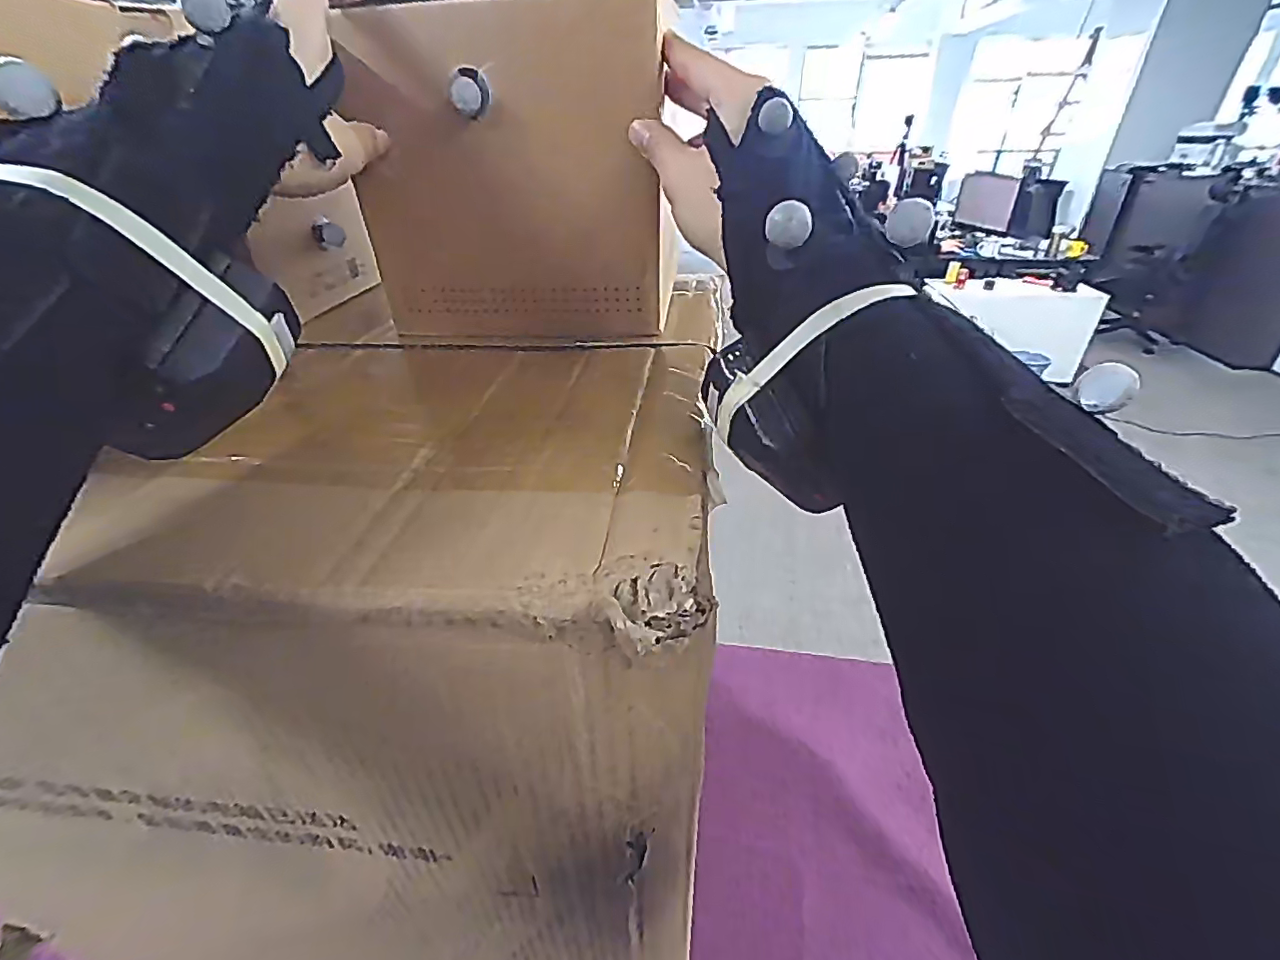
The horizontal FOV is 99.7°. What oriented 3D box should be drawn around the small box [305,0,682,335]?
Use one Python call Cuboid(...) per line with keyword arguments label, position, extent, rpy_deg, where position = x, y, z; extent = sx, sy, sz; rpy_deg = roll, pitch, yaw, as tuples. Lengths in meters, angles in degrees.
Cuboid(label="small box", position=(-0.063, -0.204, 0.359), extent=(0.179, 0.176, 0.168), rpy_deg=(1, 36, 7))
